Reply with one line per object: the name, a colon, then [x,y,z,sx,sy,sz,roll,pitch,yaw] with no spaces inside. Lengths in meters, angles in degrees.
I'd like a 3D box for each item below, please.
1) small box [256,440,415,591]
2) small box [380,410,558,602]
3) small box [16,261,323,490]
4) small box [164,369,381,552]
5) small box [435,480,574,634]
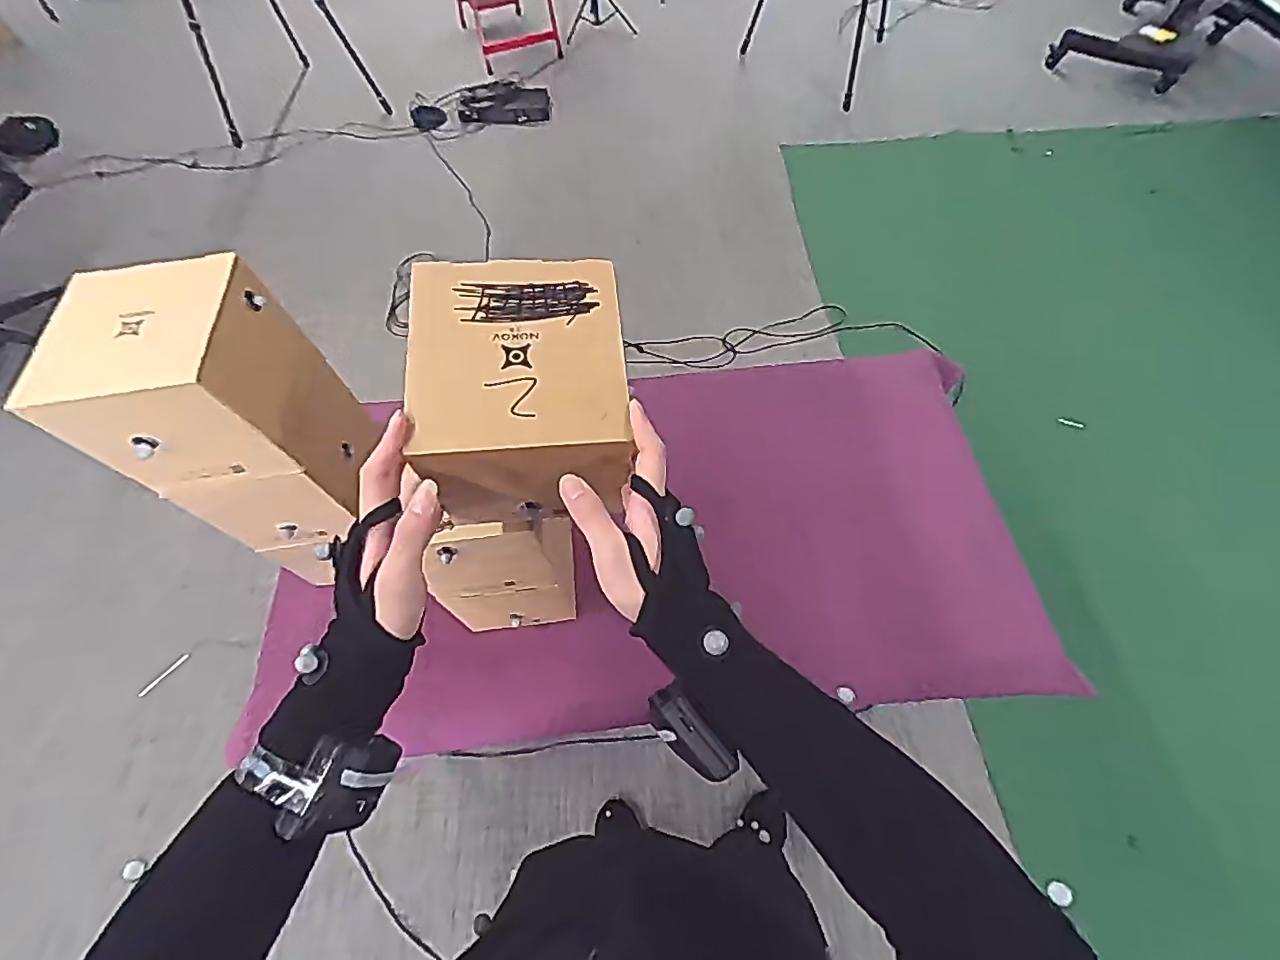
small box: [-0.465,0.061,0.868,0.168,0.176,0.179,-8,61,-2]
small box: [-0.200,0.037,0.682,0.168,0.176,0.179,-7,59,-1]
small box: [-0.476,-0.101,0.586,0.168,0.176,0.179,-9,60,-2]
small box: [-0.469,-0.022,0.727,0.168,0.176,0.179,-8,61,-2]
small box: [-0.195,0.121,0.823,0.168,0.176,0.179,-7,61,-1]
